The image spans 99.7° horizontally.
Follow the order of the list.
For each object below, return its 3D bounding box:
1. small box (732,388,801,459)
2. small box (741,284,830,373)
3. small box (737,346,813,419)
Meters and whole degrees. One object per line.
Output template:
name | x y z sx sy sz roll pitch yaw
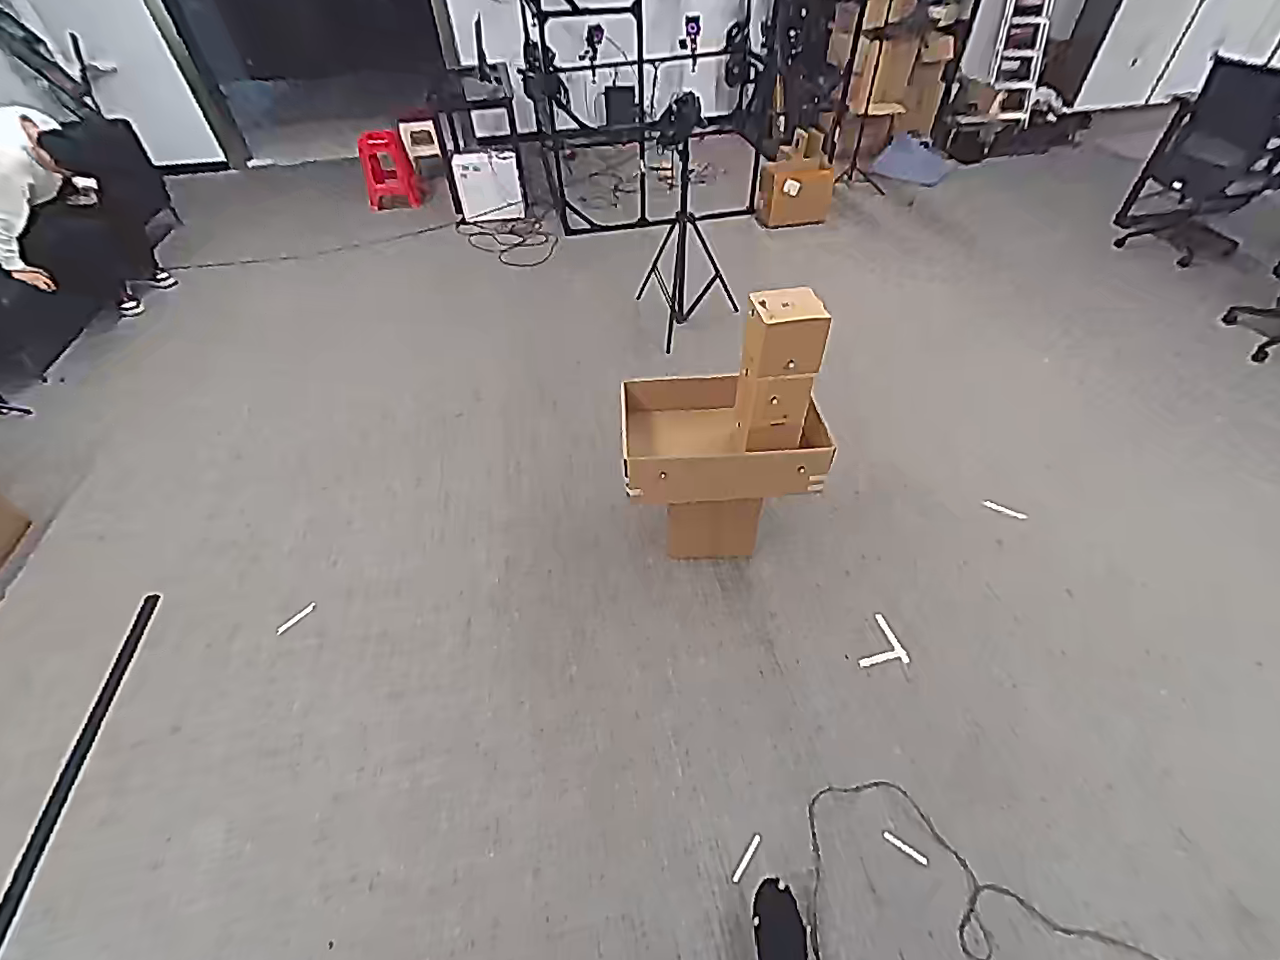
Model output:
small box | 0.389 -0.177 1.689 0.168 0.176 0.179 -5 46 -3
small box | 0.382 -0.407 1.457 0.179 0.176 0.168 -6 45 -4
small box | 0.385 -0.290 1.573 0.168 0.176 0.179 -5 45 -2
